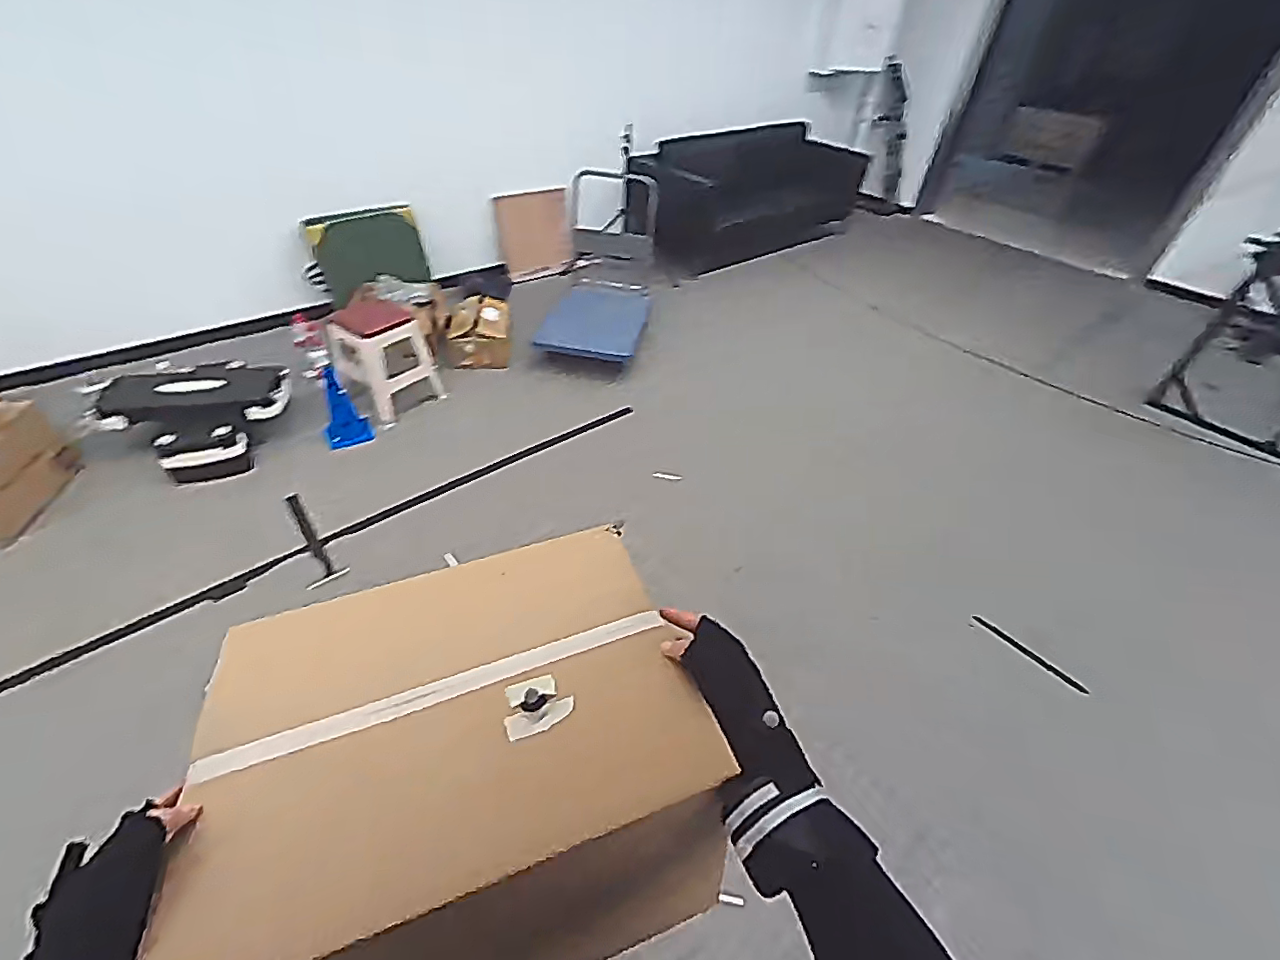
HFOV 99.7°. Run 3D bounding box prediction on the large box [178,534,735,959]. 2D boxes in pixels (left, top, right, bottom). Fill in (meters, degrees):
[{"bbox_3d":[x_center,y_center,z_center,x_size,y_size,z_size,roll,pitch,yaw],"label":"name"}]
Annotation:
[{"bbox_3d":[-0.154,0.314,0.584,0.408,0.320,0.320,-14,39,-15],"label":"large box"}]
